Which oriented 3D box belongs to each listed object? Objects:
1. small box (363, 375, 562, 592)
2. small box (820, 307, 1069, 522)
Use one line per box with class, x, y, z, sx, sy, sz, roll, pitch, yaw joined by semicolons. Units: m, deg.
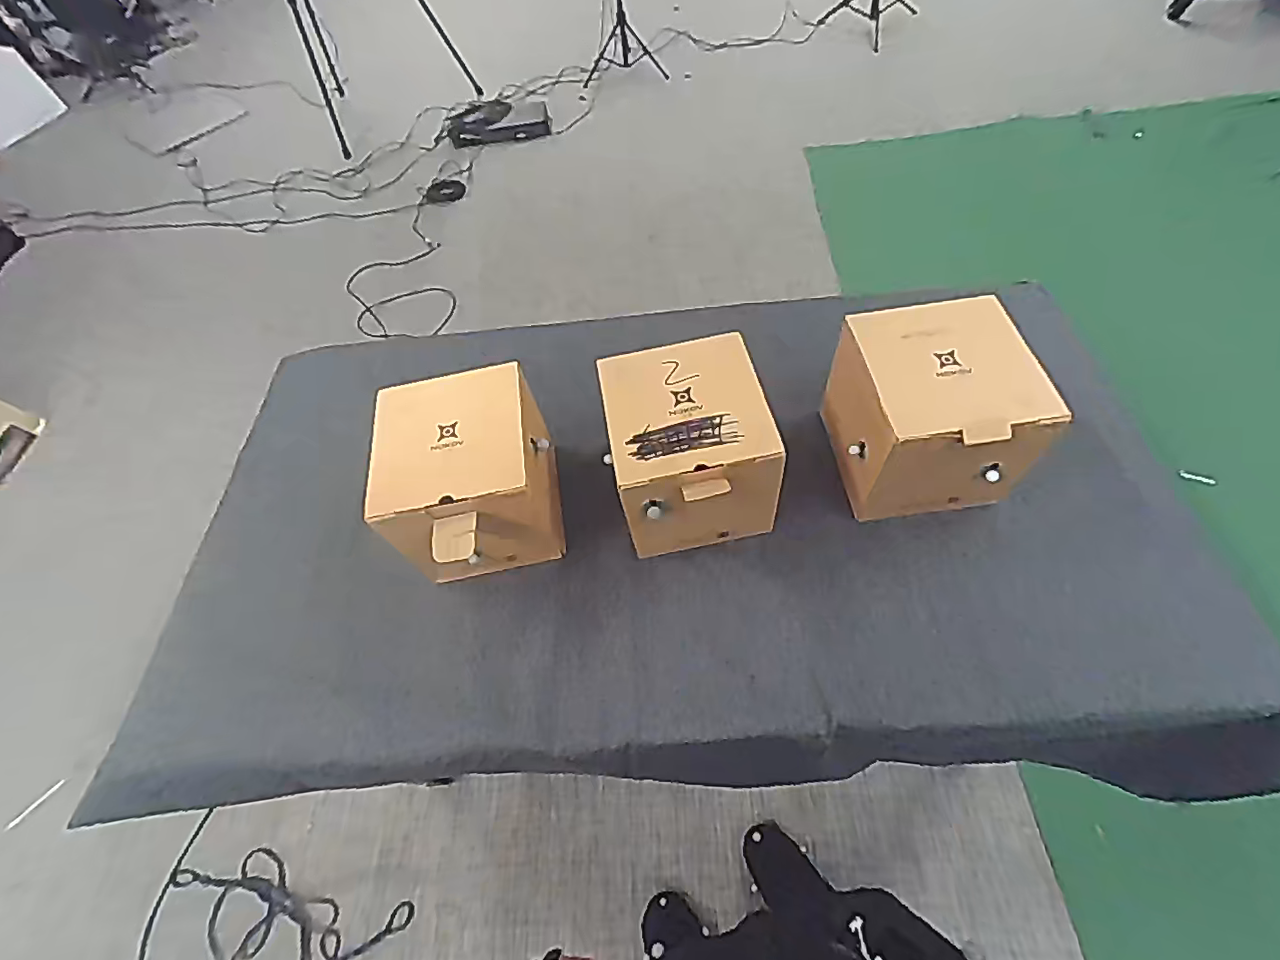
small box;-0.195;0.009;0.636;0.168;0.176;0.179;-12;57;-1
small box;0.321;-0.064;0.616;0.168;0.176;0.179;-8;56;1
